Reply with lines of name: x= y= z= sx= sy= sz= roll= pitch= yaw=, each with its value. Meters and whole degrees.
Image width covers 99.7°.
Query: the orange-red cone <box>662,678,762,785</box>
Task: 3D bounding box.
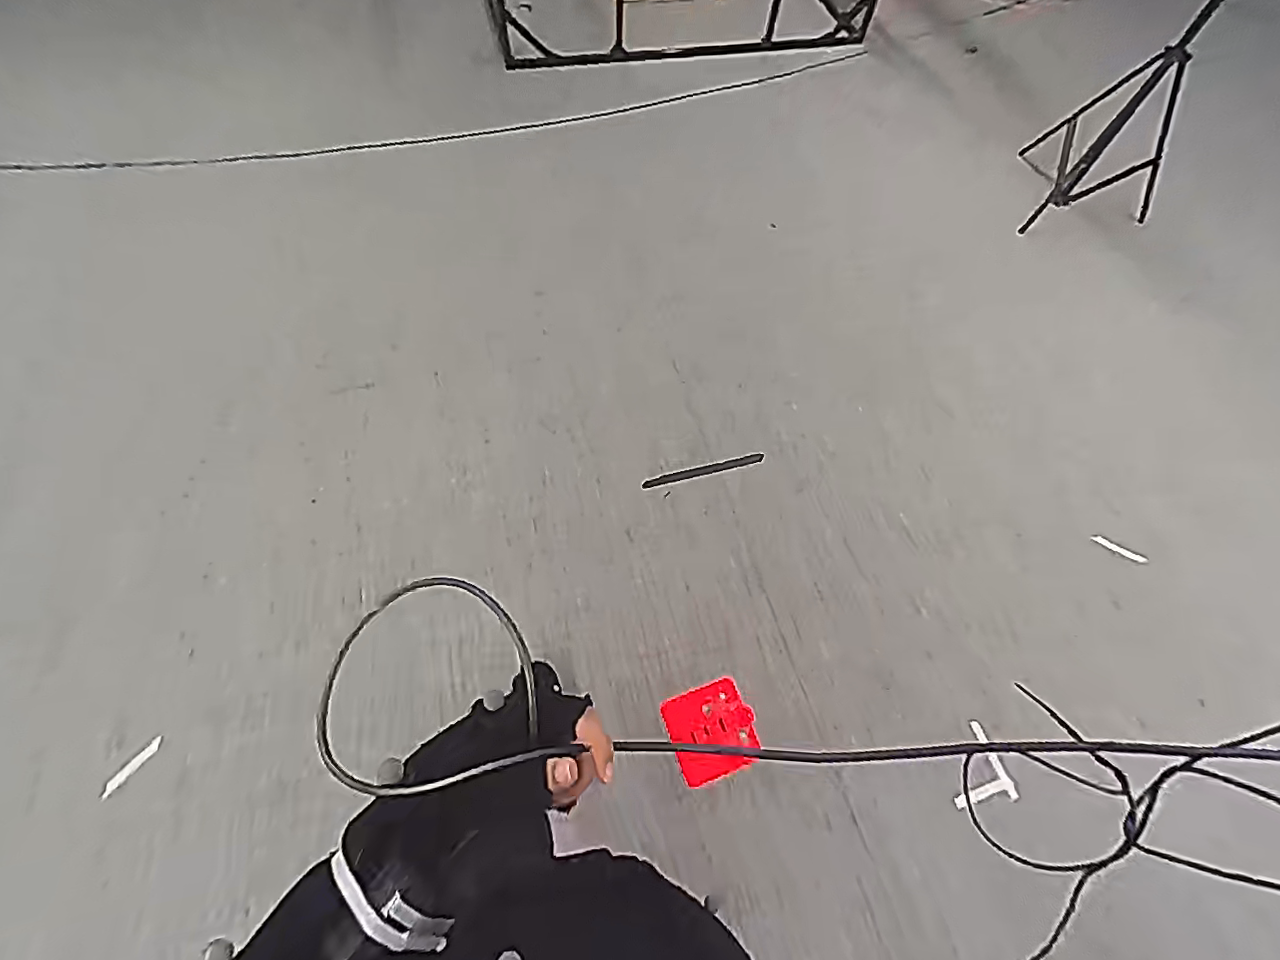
orange-red cone: x=0.174 y=0.508 z=1.129 sx=0.199 sy=0.360 sz=0.198 roll=-16 pitch=63 yaw=-10
